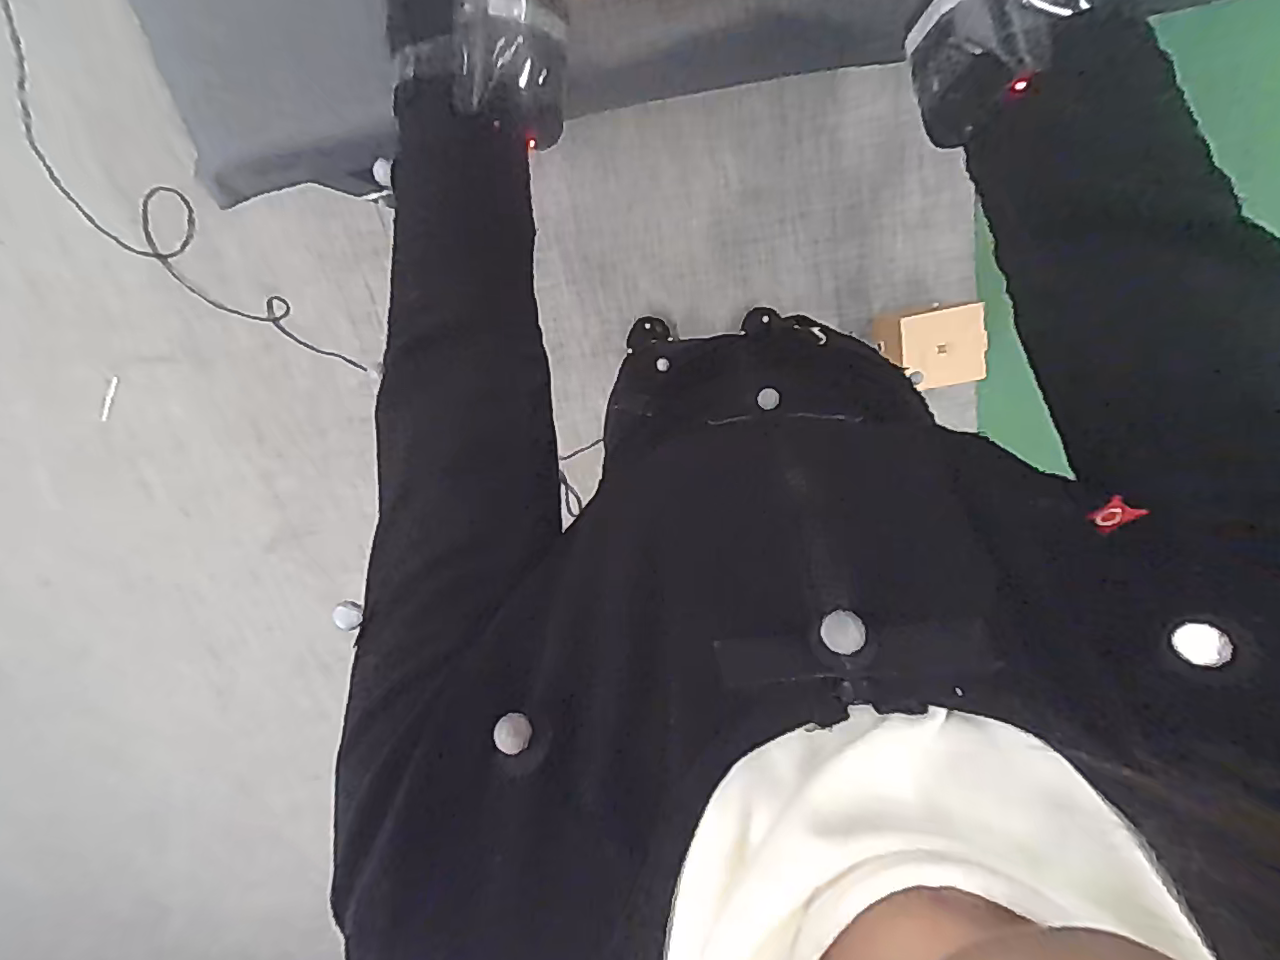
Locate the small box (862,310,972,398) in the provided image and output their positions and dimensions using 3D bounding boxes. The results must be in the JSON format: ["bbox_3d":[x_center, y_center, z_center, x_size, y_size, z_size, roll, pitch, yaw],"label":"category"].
[{"bbox_3d":[0.638,-0.297,1.258,0.179,0.176,0.168,-9,106,6],"label":"small box"}]
